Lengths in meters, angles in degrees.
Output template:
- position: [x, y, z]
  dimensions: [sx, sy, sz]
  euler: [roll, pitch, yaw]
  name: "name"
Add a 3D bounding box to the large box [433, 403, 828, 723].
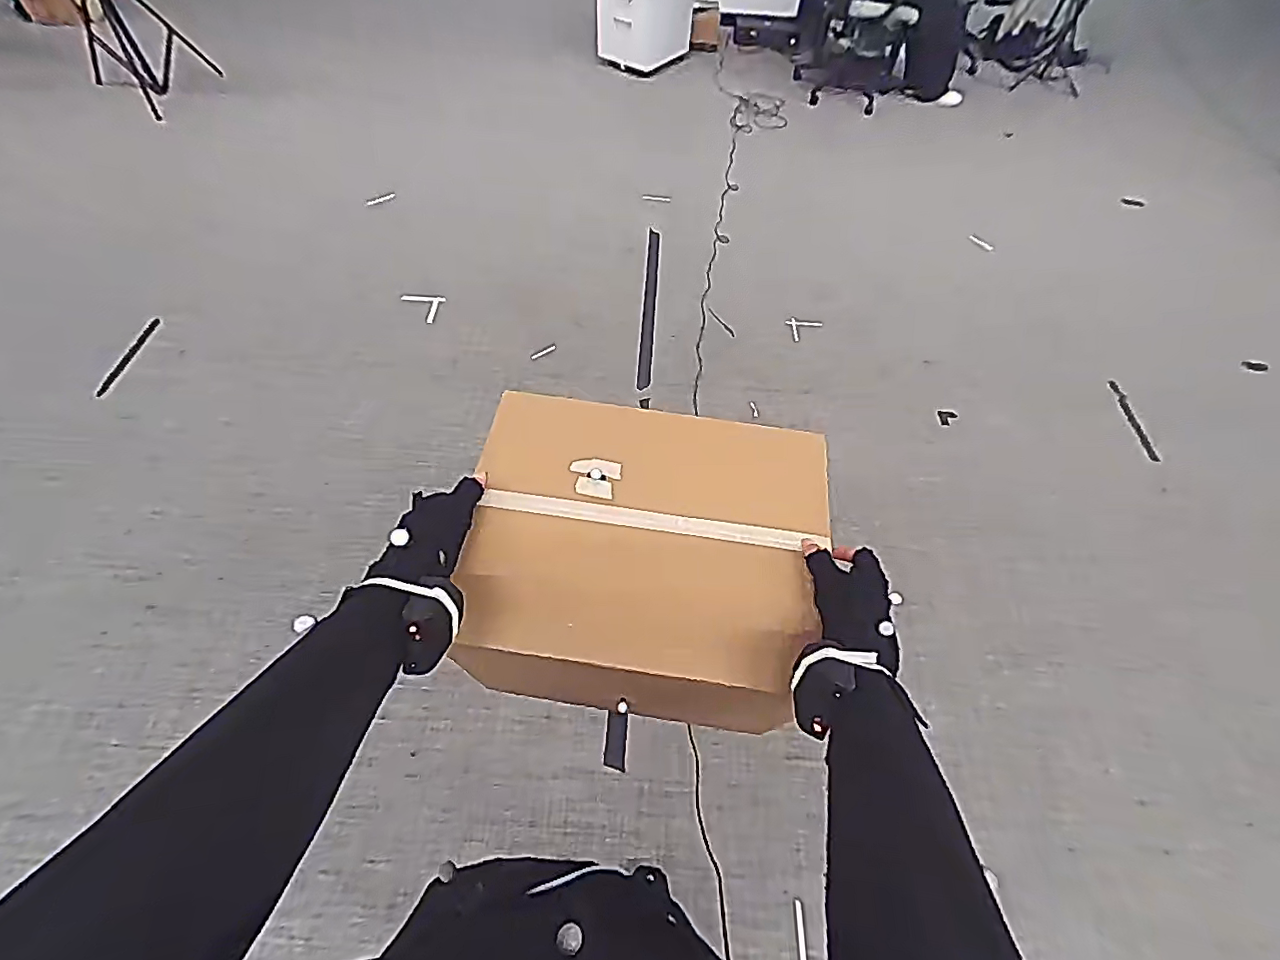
- position: [0.004, 0.129, 0.736]
  dimensions: [0.408, 0.320, 0.320]
  euler: [8, 59, 3]
  name: "large box"
